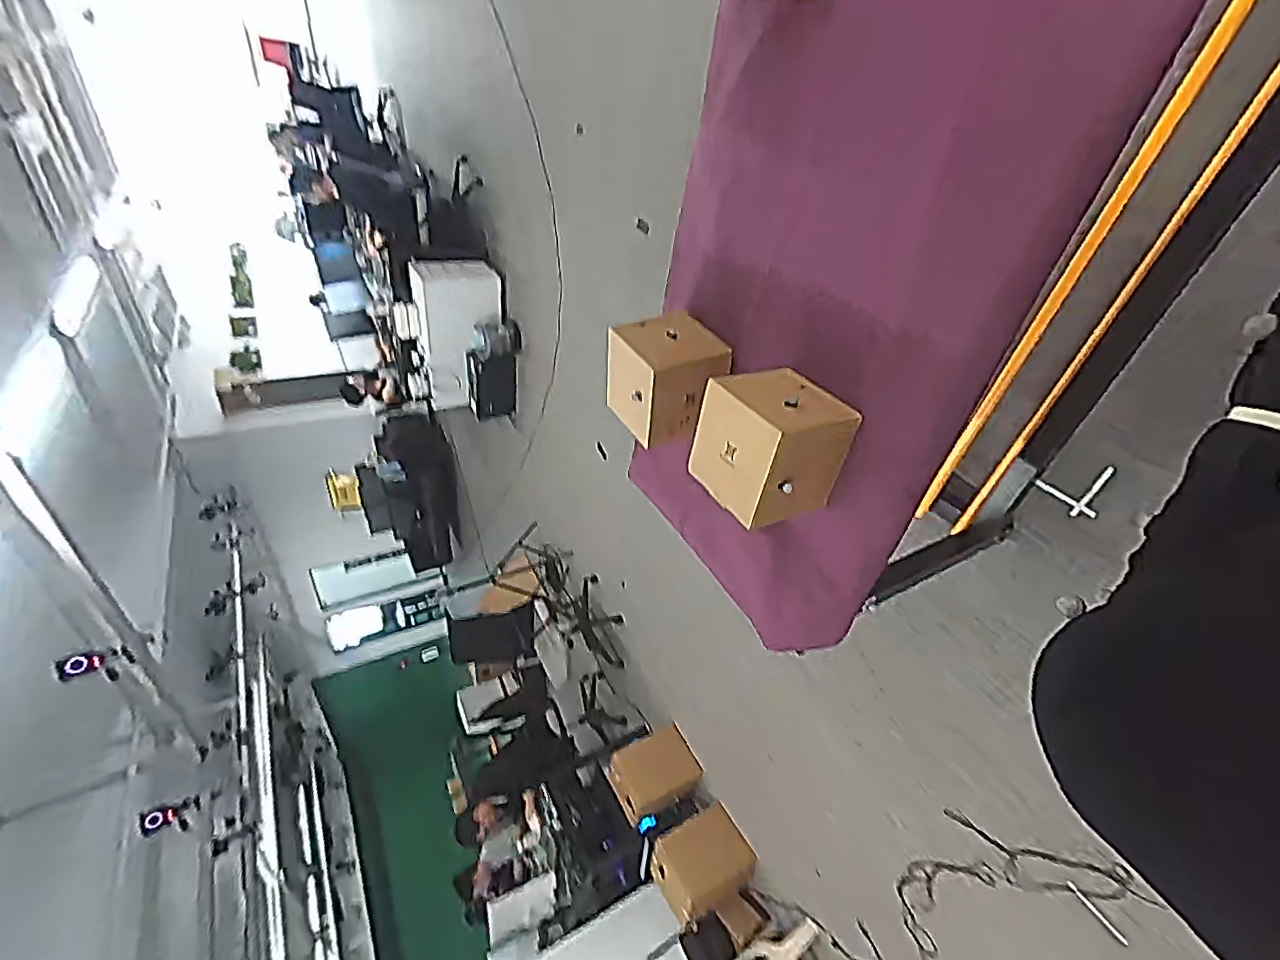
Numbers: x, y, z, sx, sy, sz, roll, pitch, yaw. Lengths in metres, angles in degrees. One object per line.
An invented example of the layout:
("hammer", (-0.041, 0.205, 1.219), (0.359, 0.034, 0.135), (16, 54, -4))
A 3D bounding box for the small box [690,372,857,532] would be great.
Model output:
("small box", (0.205, -0.053, 0.842), (0.168, 0.176, 0.179), (48, 141, 41))

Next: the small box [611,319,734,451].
("small box", (0.052, -0.189, 1.026), (0.176, 0.168, 0.179), (53, 151, 38))
